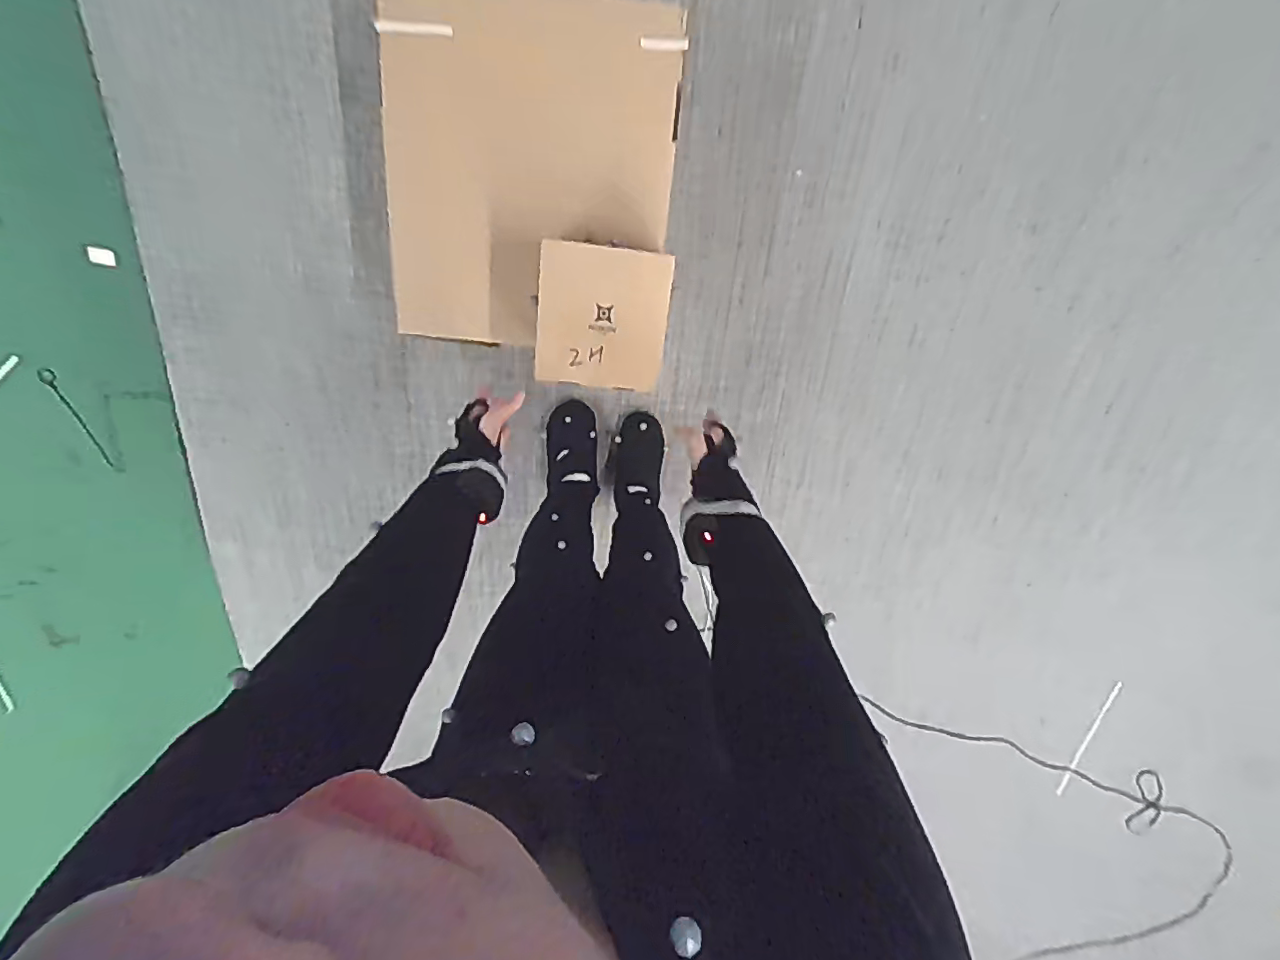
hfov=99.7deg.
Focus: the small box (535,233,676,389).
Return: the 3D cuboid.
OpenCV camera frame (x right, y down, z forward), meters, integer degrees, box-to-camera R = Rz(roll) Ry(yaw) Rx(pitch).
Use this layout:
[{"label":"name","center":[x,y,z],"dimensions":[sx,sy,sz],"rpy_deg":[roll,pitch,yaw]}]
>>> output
[{"label":"small box","center":[-0.051,-0.240,0.763],"dimensions":[0.168,0.176,0.179],"rpy_deg":[6,113,-5]}]
